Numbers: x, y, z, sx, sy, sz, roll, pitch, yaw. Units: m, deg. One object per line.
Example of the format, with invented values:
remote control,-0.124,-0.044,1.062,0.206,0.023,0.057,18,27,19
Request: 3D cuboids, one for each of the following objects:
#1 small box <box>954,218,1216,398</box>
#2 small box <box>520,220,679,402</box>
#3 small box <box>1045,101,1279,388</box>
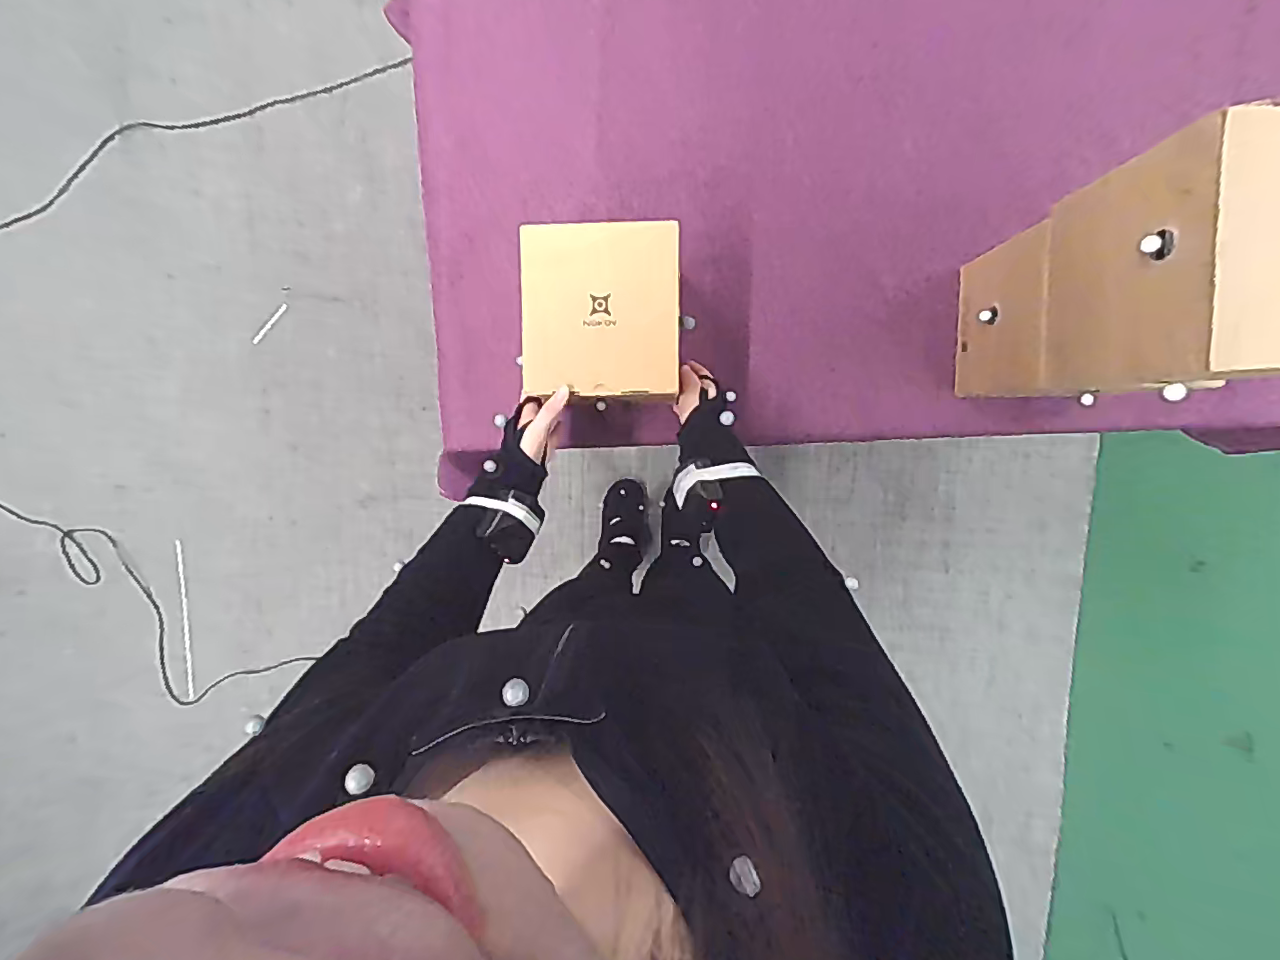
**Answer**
small box,0.481,-0.179,0.604,0.179,0.176,0.168,1,96,4
small box,-0.039,-0.185,0.639,0.168,0.176,0.179,0,96,3
small box,0.469,-0.172,0.439,0.168,0.176,0.179,-2,96,4
